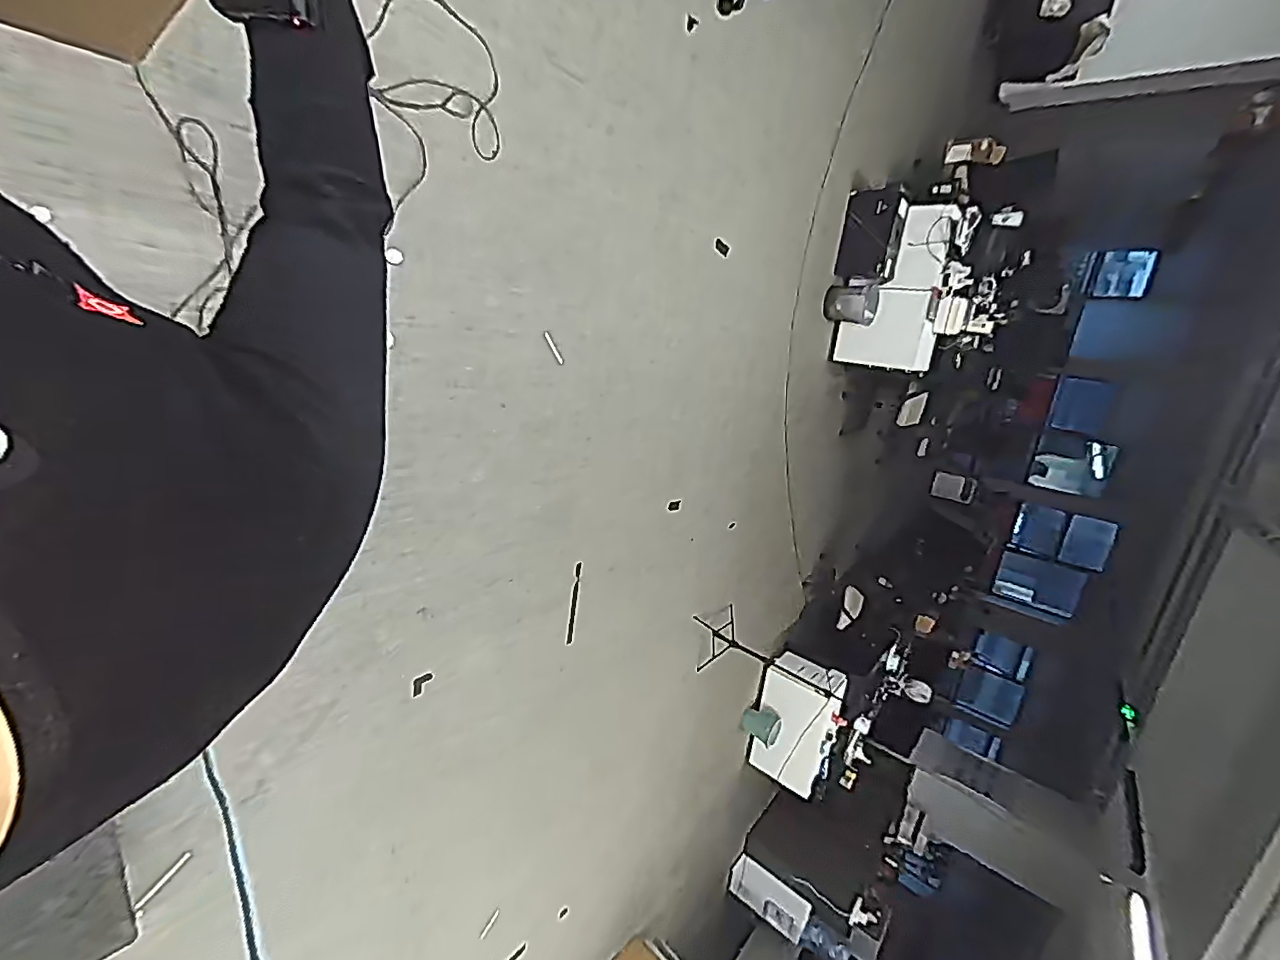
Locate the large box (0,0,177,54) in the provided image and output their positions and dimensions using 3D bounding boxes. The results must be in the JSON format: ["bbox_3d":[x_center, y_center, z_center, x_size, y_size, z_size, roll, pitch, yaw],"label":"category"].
[{"bbox_3d":[-0.493,-0.492,0.249,0.408,0.320,0.320,-13,113,-49],"label":"large box"}]
